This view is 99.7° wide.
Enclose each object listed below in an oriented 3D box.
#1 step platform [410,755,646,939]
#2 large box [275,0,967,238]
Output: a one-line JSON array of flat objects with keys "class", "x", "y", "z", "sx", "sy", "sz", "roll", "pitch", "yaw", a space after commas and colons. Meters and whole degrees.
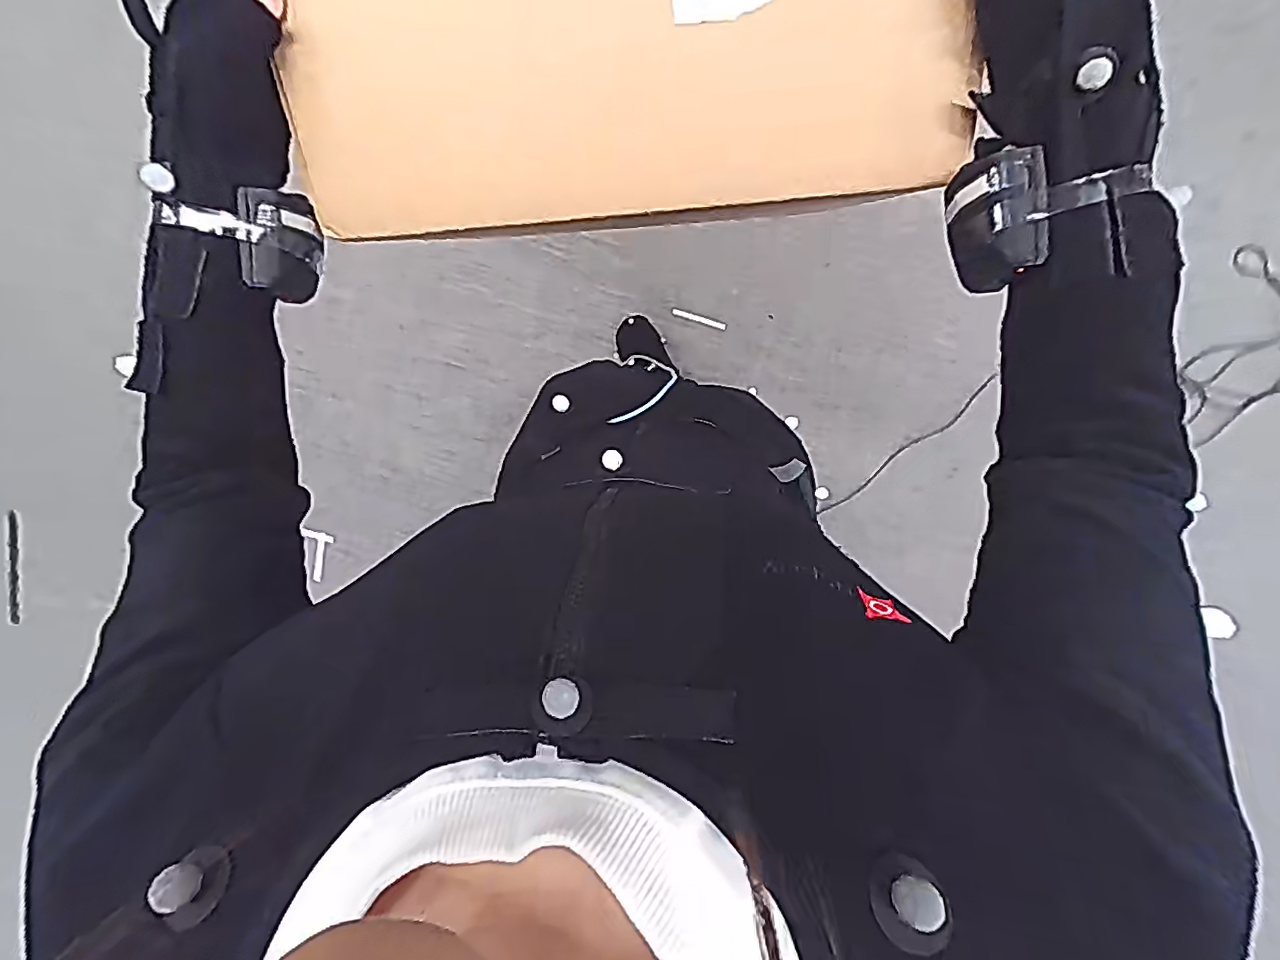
[{"class": "step platform", "x": -0.337, "y": 1.105, "z": 1.639, "sx": 0.684, "sy": 0.204, "sz": 0.286, "roll": 17, "pitch": 103, "yaw": 4}, {"class": "large box", "x": -0.011, "y": -0.381, "z": 0.424, "sx": 0.408, "sy": 0.320, "sz": 0.320, "roll": -3, "pitch": 115, "yaw": 7}]
